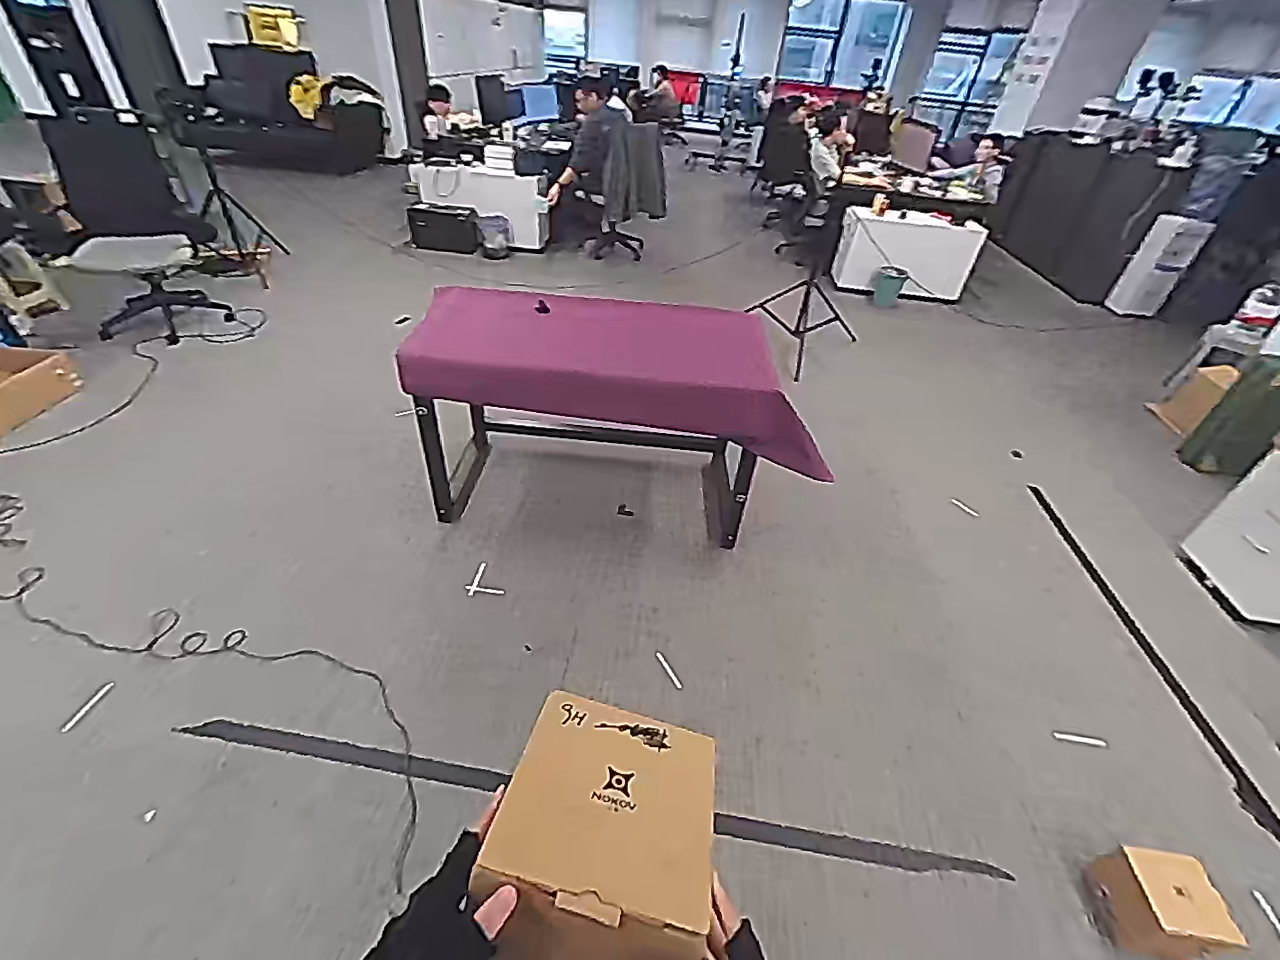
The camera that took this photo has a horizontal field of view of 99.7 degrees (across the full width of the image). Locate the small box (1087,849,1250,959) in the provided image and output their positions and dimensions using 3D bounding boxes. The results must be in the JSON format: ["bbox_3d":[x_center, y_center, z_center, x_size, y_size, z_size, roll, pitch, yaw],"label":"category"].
[{"bbox_3d":[1.211,0.994,1.257,0.179,0.176,0.168,7,38,3],"label":"small box"}]

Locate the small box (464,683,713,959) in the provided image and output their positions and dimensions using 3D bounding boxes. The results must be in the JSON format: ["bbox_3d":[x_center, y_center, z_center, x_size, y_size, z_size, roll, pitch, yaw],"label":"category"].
[{"bbox_3d":[-0.039,0.320,0.470,0.168,0.176,0.179,15,21,3],"label":"small box"}]
